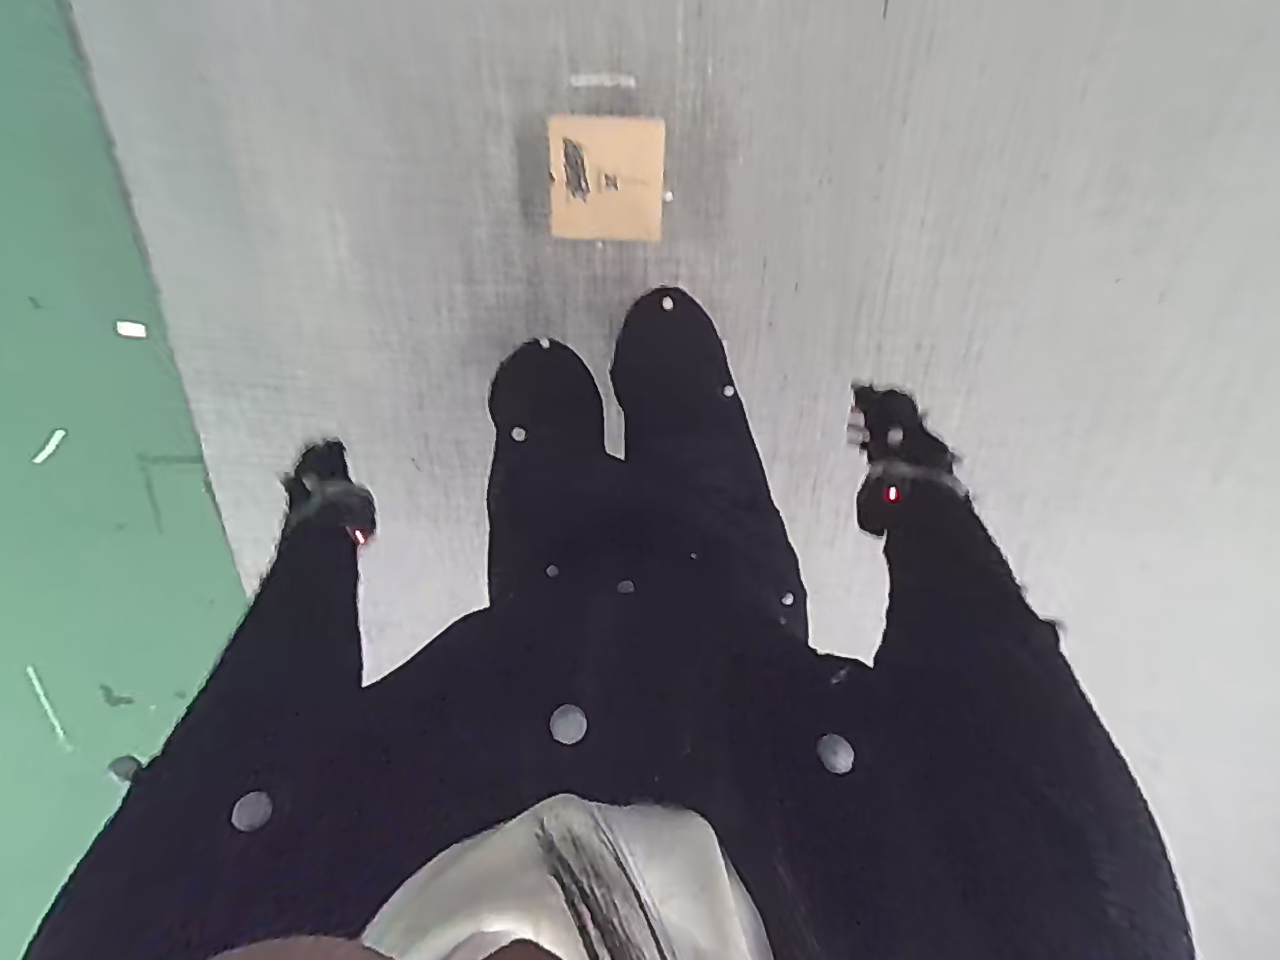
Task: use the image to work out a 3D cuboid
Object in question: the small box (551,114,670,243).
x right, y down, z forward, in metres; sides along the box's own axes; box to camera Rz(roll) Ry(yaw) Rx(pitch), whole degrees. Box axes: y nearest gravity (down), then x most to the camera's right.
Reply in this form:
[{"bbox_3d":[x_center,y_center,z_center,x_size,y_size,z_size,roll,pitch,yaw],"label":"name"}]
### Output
[{"bbox_3d":[-0.044,-0.489,0.899,0.179,0.176,0.168,4,113,1],"label":"small box"}]
